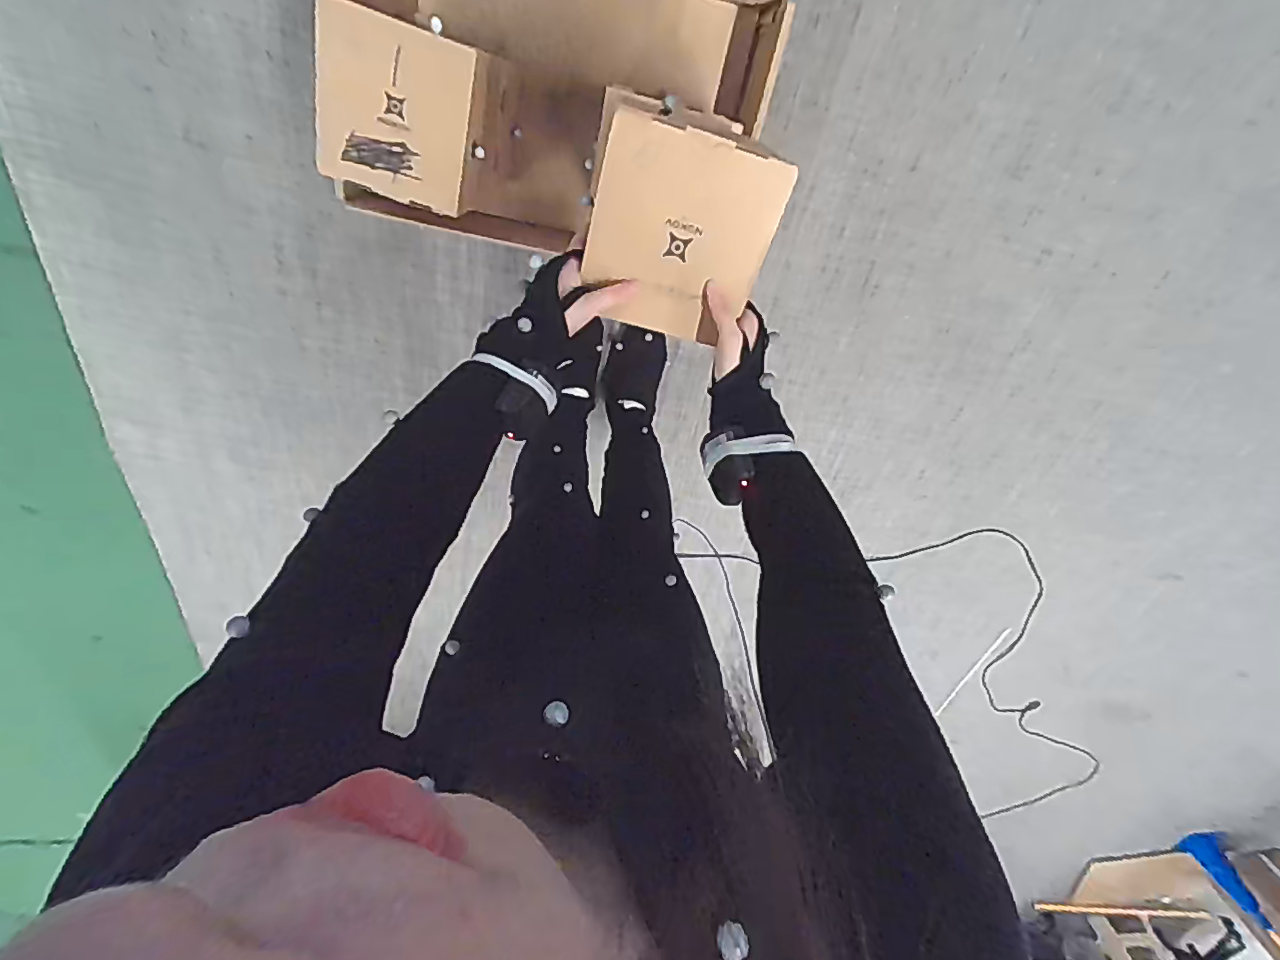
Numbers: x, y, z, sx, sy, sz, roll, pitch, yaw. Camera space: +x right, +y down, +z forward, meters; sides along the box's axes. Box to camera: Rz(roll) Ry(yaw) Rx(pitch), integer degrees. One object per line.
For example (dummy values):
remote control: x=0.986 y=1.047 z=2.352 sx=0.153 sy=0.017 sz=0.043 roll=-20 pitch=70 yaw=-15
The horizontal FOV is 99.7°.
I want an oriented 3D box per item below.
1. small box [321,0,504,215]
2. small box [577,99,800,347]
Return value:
small box: x=-0.277 y=-0.463 z=0.681 sx=0.168 sy=0.176 sz=0.179 roll=14 pitch=122 yaw=-12
small box: x=0.036 y=-0.270 z=0.563 sx=0.168 sy=0.176 sz=0.179 roll=13 pitch=127 yaw=-11
